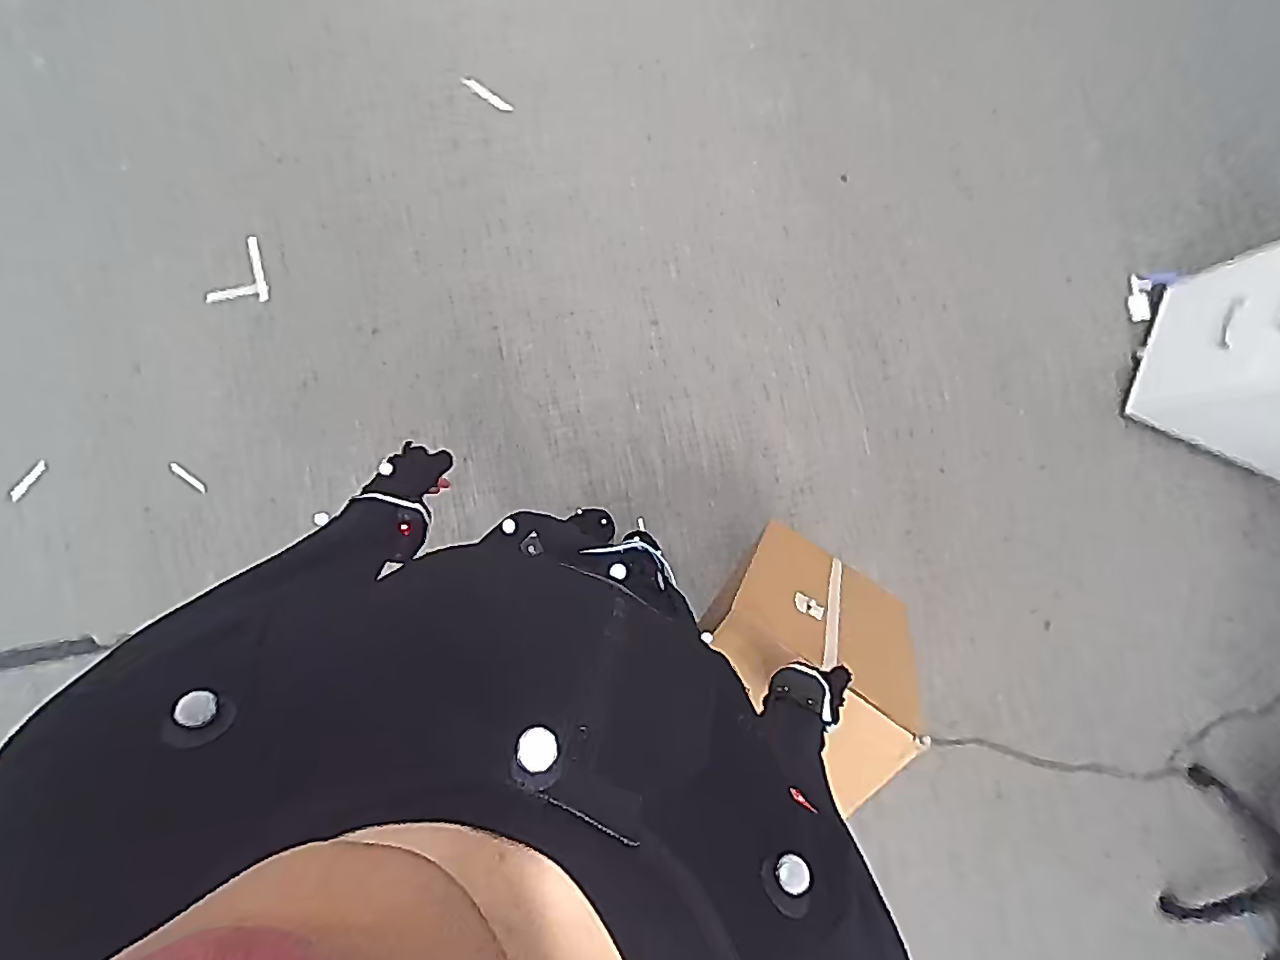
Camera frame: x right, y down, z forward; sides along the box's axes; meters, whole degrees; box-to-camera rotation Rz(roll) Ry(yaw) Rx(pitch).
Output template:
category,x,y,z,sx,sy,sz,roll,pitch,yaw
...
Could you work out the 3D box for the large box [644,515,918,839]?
category,x,y,z,sx,sy,sz,roll,pitch,yaw
large box,0.259,0.329,1.002,0.320,0.408,0.320,32,116,10
